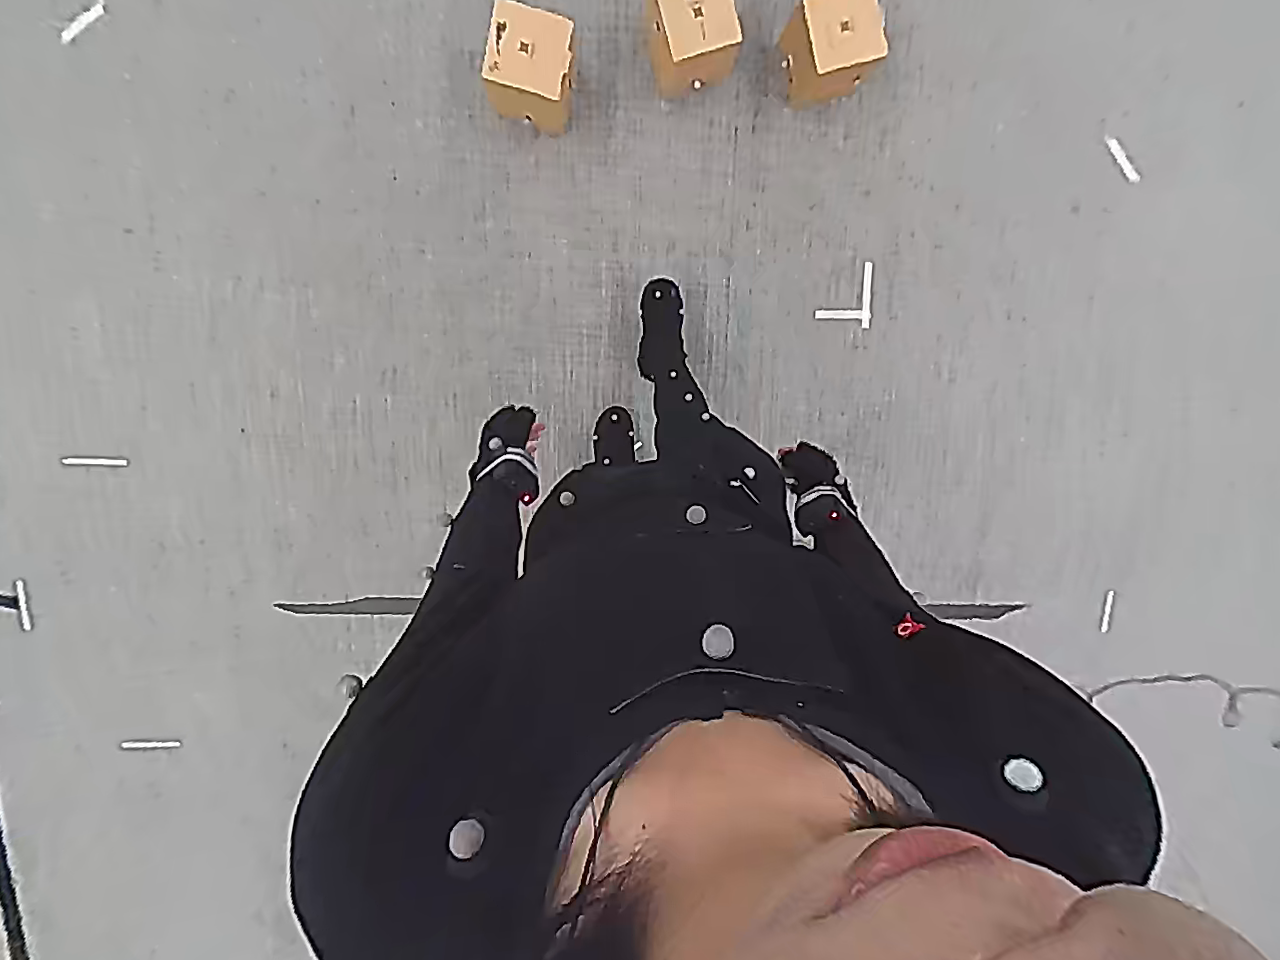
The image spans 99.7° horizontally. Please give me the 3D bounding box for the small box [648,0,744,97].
[{"bbox_3d":[0.124,-1.046,1.262,0.168,0.176,0.179,-18,101,-1],"label":"small box"}]

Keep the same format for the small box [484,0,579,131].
[{"bbox_3d":[-0.243,-0.946,1.251,0.179,0.176,0.168,14,98,-7],"label":"small box"}]

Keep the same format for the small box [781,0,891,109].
[{"bbox_3d":[0.463,-1.035,1.294,0.179,0.176,0.168,-17,100,-1],"label":"small box"}]
